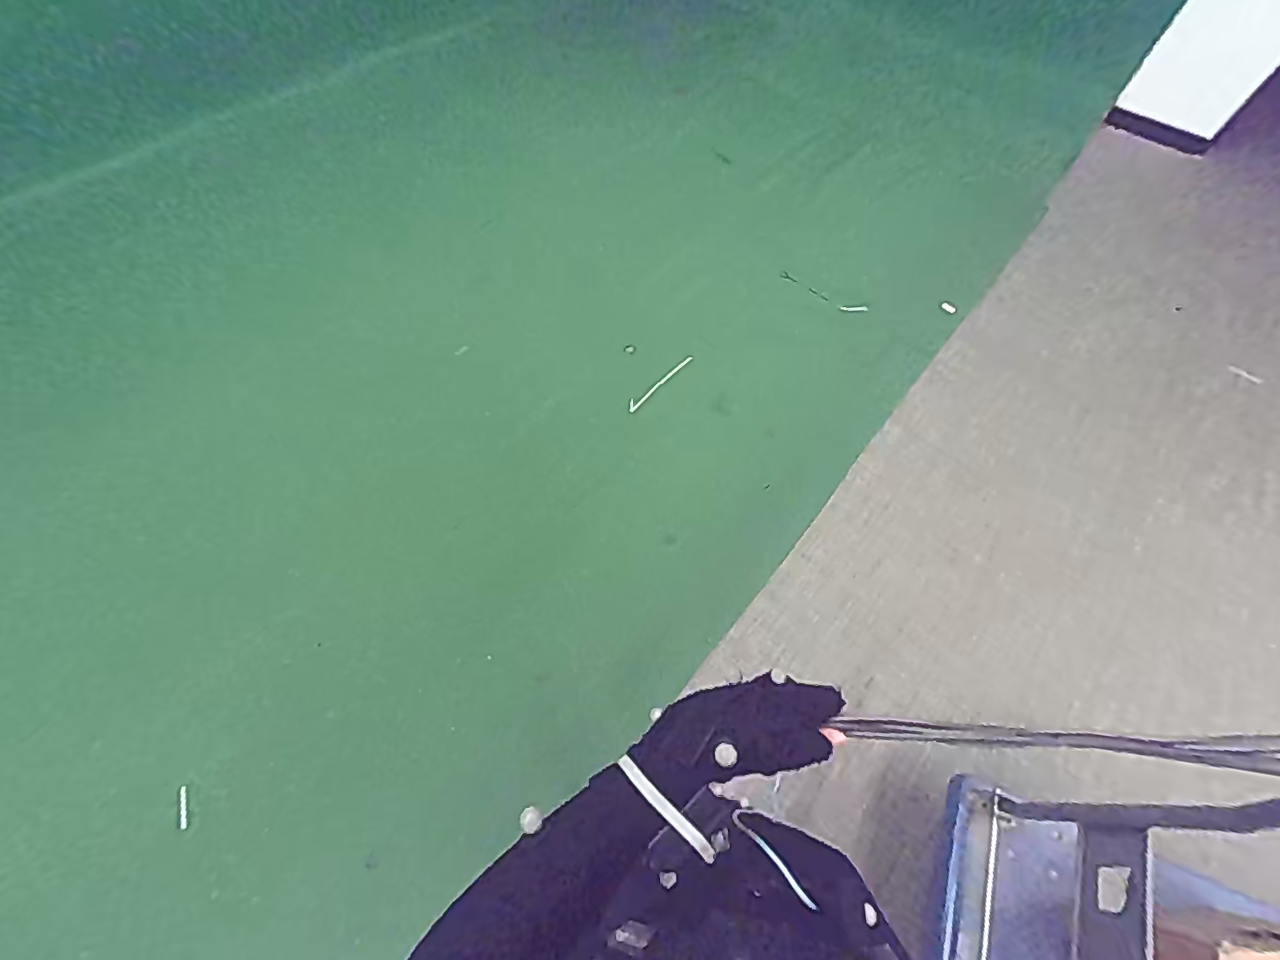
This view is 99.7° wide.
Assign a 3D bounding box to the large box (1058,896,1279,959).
[{"bbox_3d":[0.935,0.891,0.799,0.320,0.320,0.408,2,60,-1],"label":"large box"}]
